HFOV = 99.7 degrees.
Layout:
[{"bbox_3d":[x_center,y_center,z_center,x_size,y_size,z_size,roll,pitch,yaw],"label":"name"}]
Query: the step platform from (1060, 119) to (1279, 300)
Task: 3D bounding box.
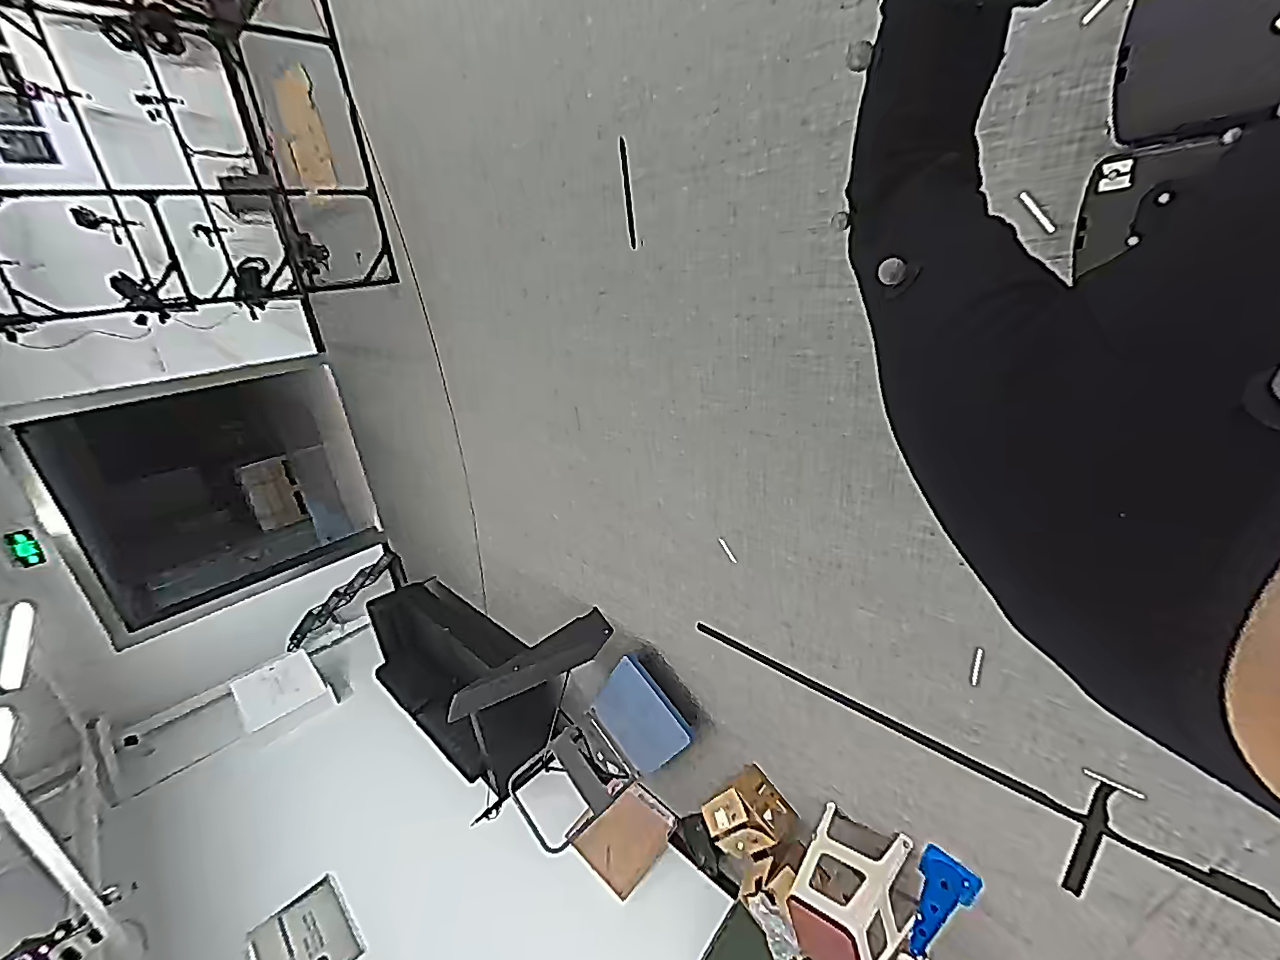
[{"bbox_3d":[1.177,-0.487,0.956,0.684,0.204,0.286,15,120,45],"label":"step platform"}]
